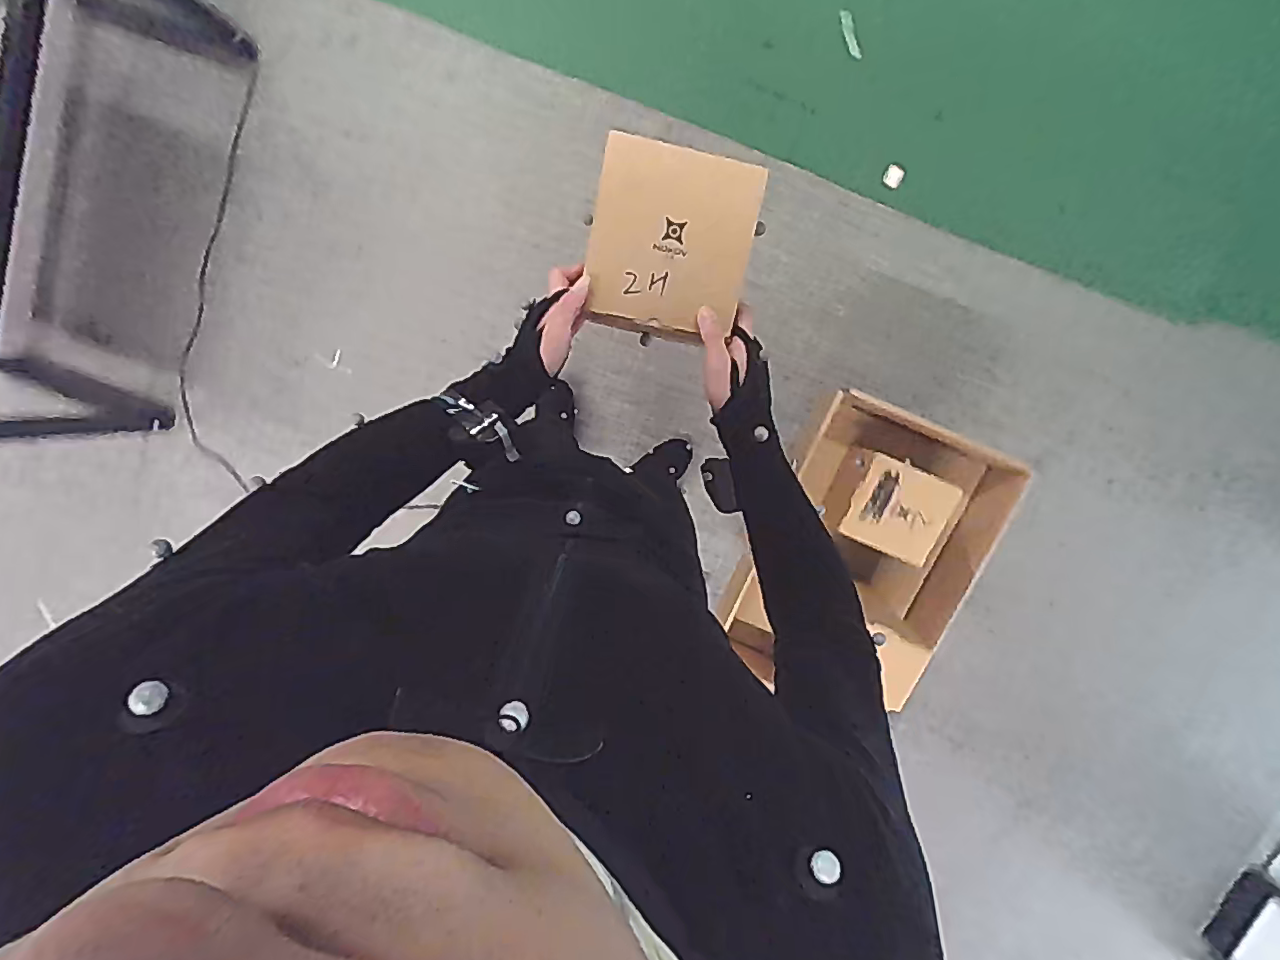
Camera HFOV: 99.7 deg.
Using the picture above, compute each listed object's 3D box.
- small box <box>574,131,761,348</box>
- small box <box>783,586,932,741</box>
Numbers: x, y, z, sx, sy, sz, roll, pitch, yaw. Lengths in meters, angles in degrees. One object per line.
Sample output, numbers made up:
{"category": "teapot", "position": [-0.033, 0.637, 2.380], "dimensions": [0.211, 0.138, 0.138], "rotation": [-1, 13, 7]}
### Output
{"category": "small box", "position": [0.022, -0.258, 0.625], "dimensions": [0.168, 0.176, 0.179], "rotation": [10, 101, -4]}
{"category": "small box", "position": [0.375, 0.317, 0.973], "dimensions": [0.168, 0.176, 0.179], "rotation": [26, 101, 2]}
